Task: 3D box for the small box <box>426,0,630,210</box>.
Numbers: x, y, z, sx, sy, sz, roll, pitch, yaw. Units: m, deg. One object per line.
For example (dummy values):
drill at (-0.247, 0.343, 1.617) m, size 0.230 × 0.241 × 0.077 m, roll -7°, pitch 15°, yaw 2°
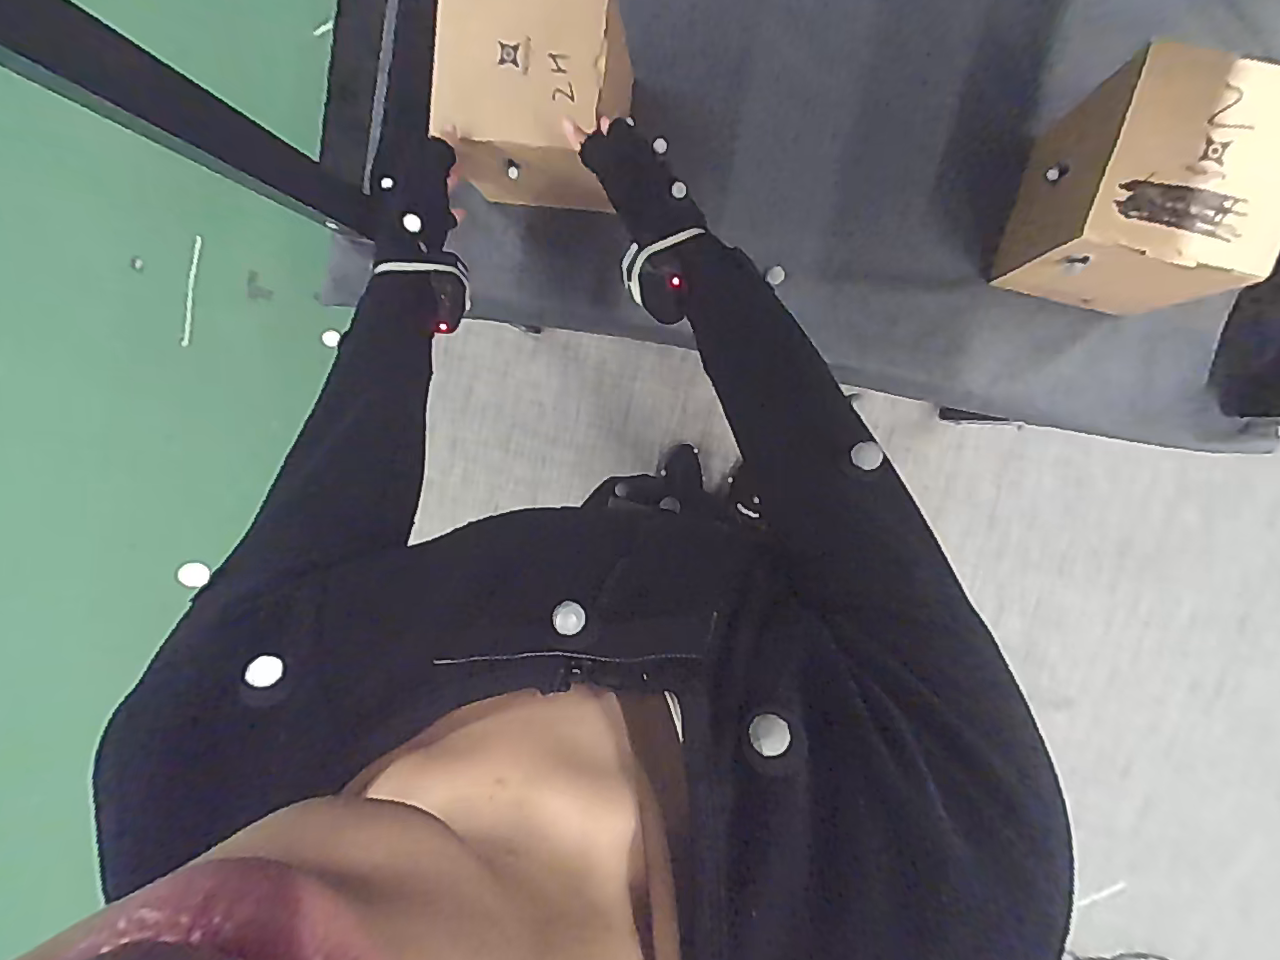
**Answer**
small box at (-0.116, -0.428, 0.618) m, size 0.179 × 0.176 × 0.168 m, roll 8°, pitch 98°, yaw 4°
